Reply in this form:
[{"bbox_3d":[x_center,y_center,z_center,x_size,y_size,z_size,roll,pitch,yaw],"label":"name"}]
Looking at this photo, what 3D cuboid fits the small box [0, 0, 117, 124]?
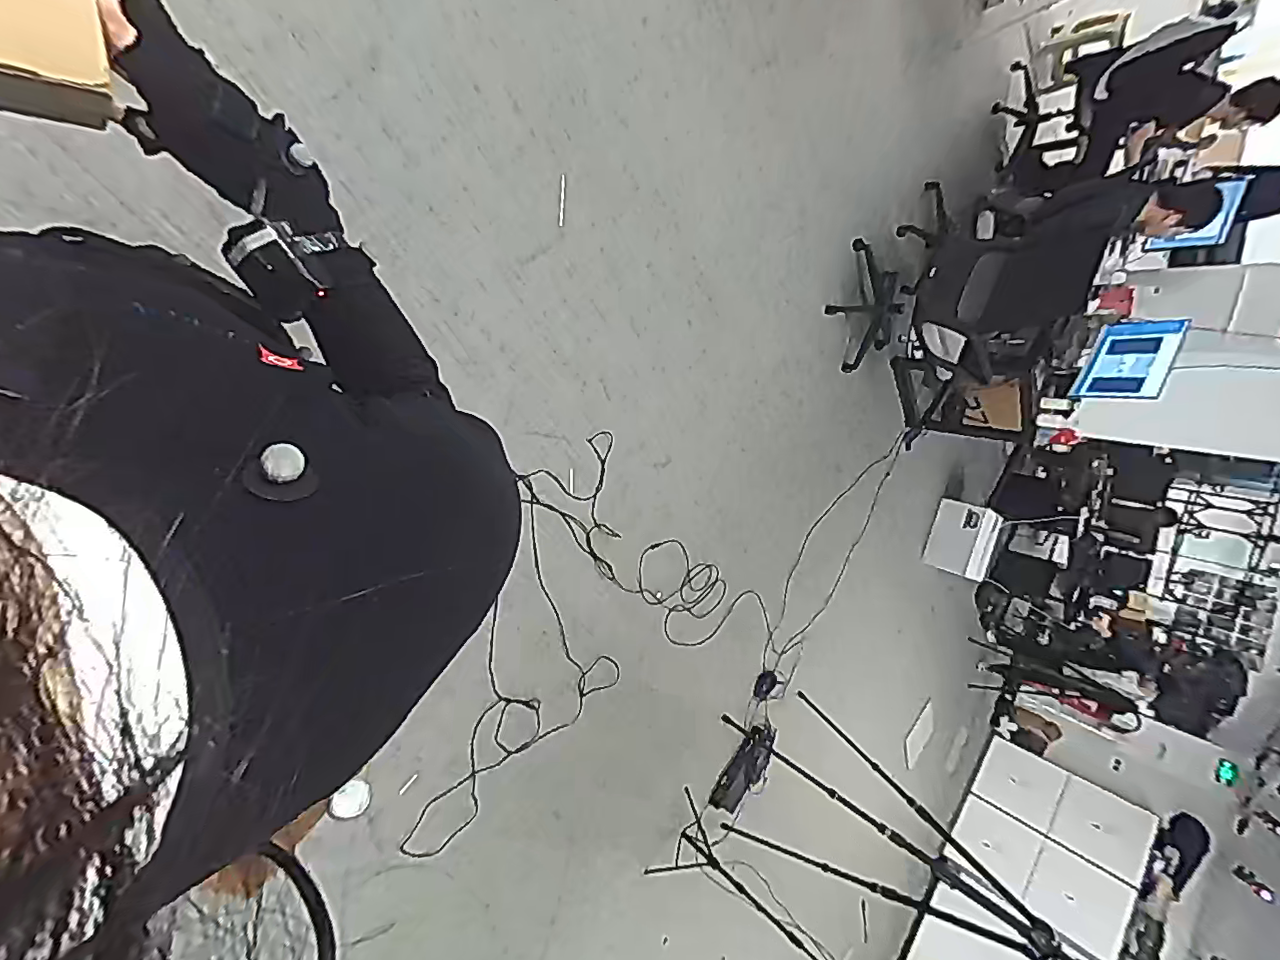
[{"bbox_3d":[-0.415,-0.321,0.291,0.168,0.176,0.179,-13,117,-42],"label":"small box"}]
